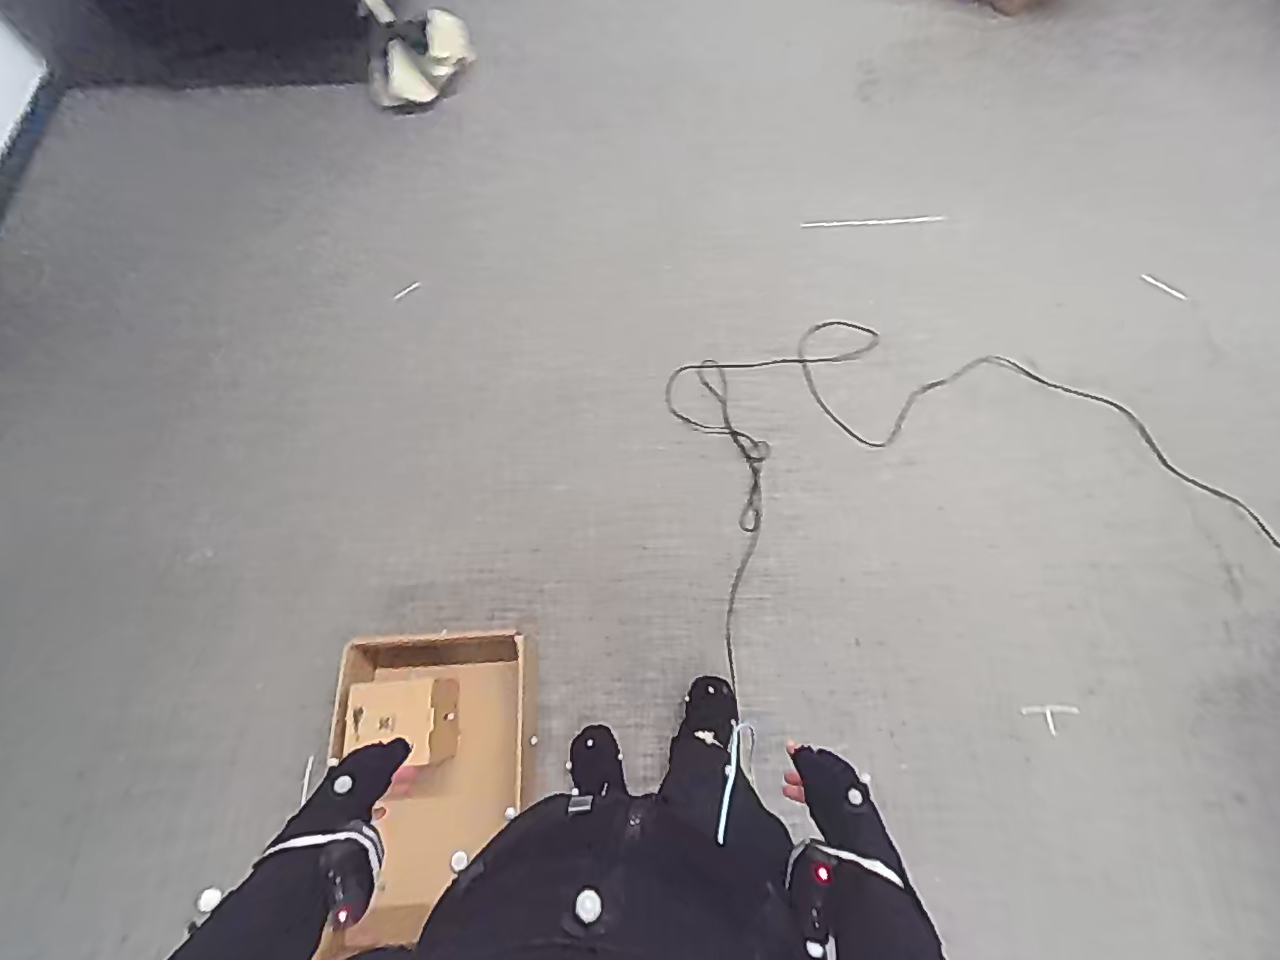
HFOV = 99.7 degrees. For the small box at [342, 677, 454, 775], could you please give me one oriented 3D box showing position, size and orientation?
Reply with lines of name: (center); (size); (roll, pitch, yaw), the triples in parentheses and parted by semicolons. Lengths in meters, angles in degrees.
small box: (-0.512, 0.523, 1.171); (0.179, 0.176, 0.168); (-7, 71, -1)
